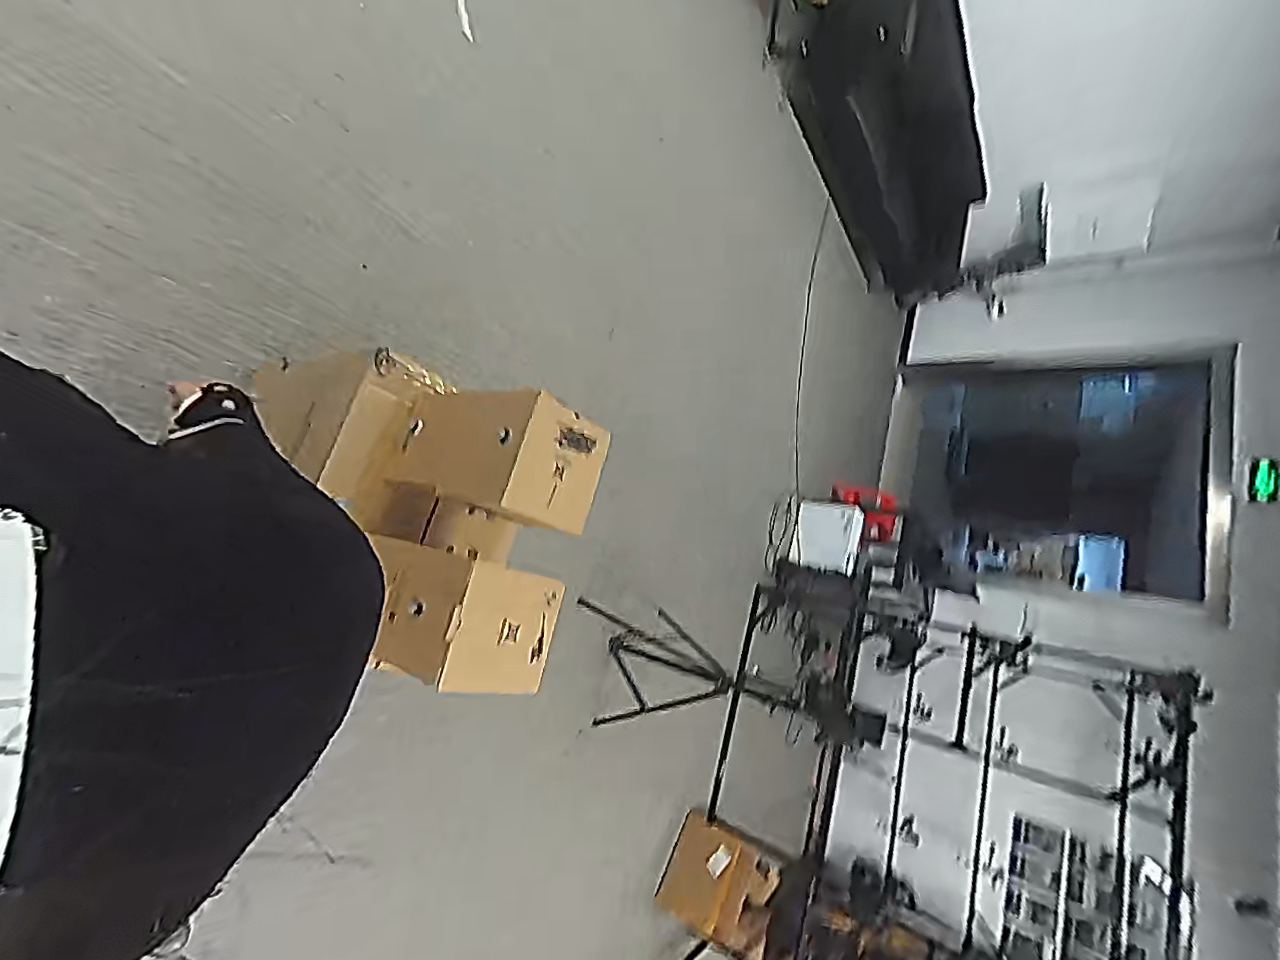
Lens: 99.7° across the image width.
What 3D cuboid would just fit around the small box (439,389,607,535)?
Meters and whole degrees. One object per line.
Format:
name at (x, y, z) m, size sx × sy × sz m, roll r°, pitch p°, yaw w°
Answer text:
small box at (-0.184, -0.028, 0.849) m, size 0.168 × 0.176 × 0.179 m, roll 30°, pitch 71°, yaw -48°

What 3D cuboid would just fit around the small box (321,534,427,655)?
small box at (-0.380, 0.192, 0.890) m, size 0.179 × 0.176 × 0.168 m, roll 31°, pitch 68°, yaw -48°

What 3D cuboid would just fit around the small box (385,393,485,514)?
small box at (-0.309, -0.042, 0.955) m, size 0.179 × 0.176 × 0.168 m, roll 30°, pitch 71°, yaw -47°

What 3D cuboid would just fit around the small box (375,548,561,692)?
small box at (-0.250, 0.200, 0.789) m, size 0.179 × 0.176 × 0.168 m, roll 29°, pitch 70°, yaw -48°
